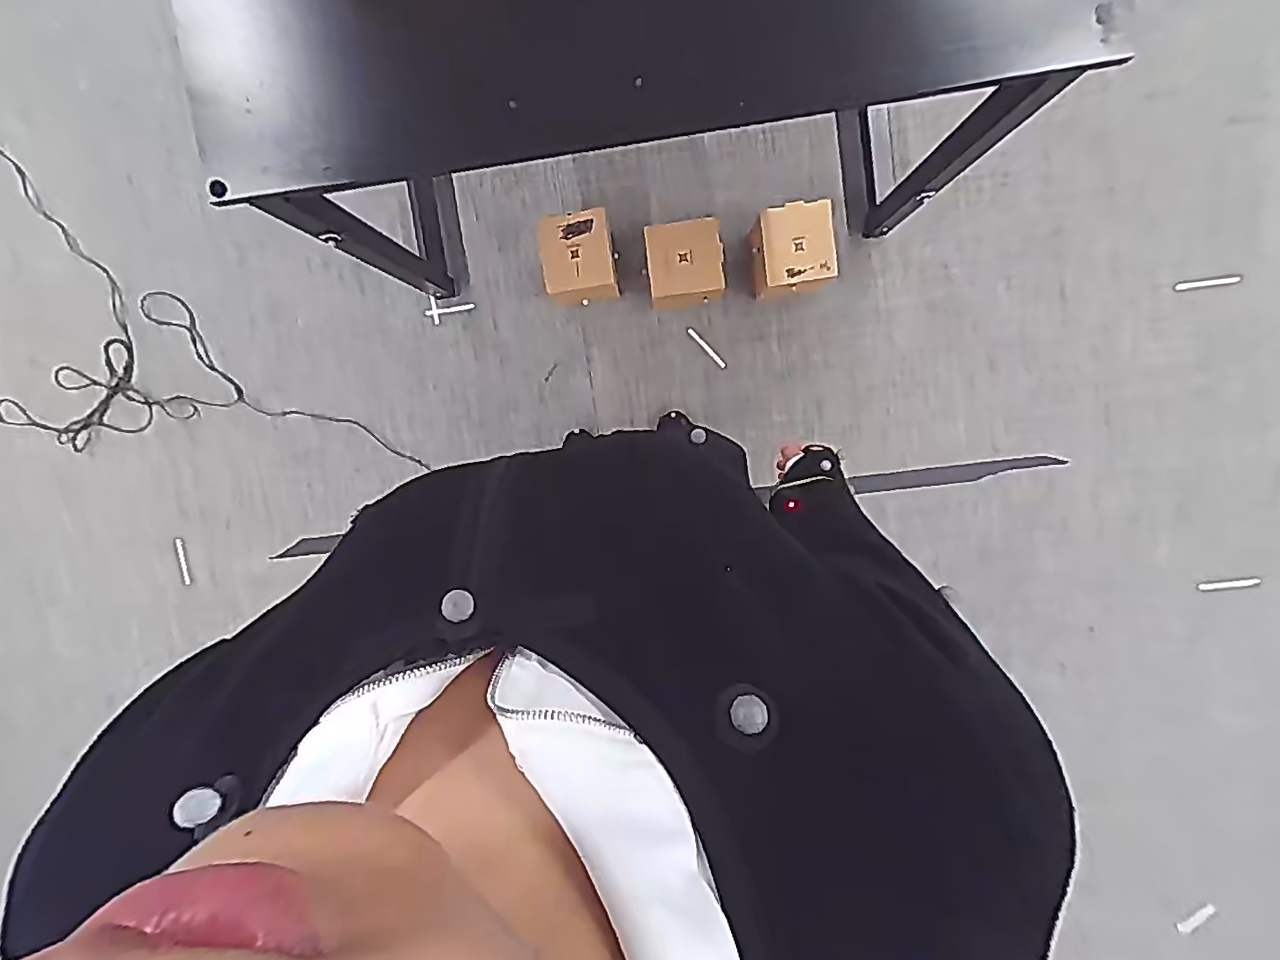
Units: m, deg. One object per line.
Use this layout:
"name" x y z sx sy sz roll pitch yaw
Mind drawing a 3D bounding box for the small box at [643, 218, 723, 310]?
"small box" 0.103 -0.529 1.345 0.179 0.176 0.168 -6 96 4

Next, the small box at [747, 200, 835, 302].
"small box" 0.364 -0.555 1.329 0.168 0.176 0.179 -8 96 4

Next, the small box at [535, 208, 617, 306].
"small box" -0.153 -0.549 1.352 0.168 0.176 0.179 -8 97 4
